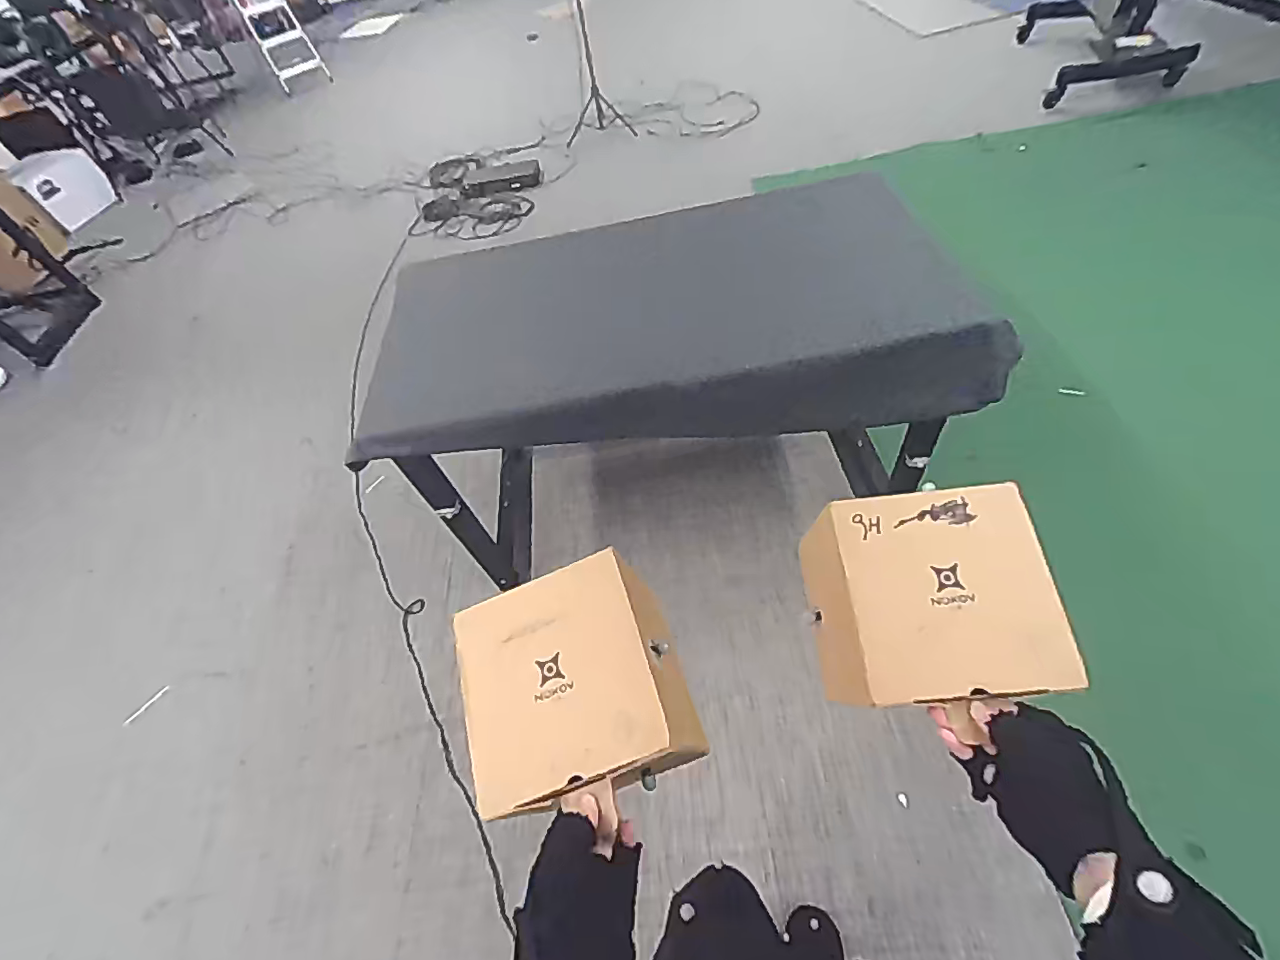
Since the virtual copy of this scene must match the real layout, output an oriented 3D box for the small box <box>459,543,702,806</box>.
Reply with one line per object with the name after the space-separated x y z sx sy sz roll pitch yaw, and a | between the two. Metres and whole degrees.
-0.051 0.193 0.532 0.168 0.176 0.179 -23 58 3 | small box
